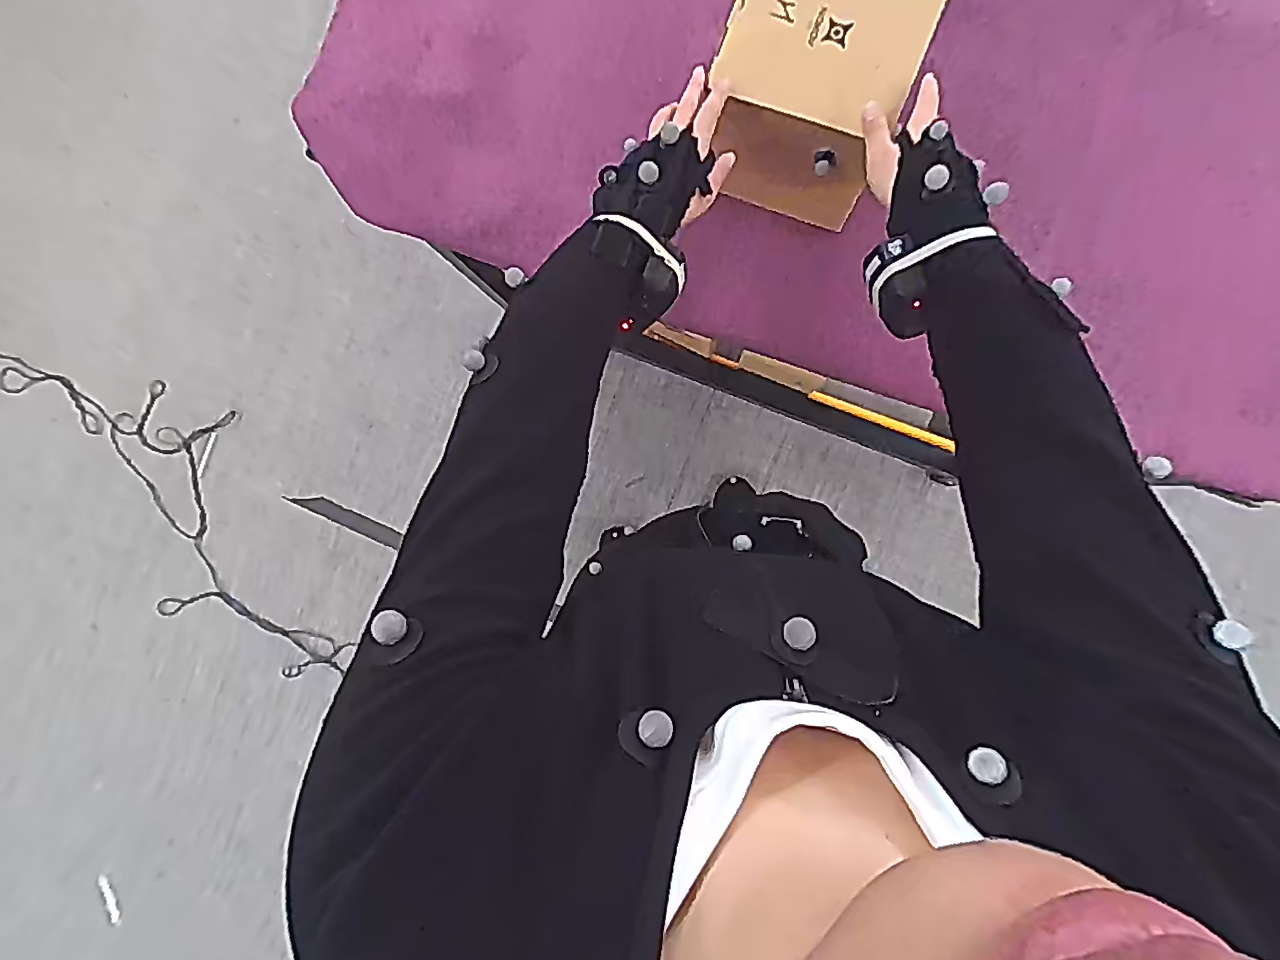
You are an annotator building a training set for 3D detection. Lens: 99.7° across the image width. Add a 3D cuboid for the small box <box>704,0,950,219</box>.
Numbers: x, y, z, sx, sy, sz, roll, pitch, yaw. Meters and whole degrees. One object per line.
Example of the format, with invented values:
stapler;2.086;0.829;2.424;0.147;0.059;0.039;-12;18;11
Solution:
small box;0.176;-0.399;0.553;0.179;0.176;0.168;22;91;6
